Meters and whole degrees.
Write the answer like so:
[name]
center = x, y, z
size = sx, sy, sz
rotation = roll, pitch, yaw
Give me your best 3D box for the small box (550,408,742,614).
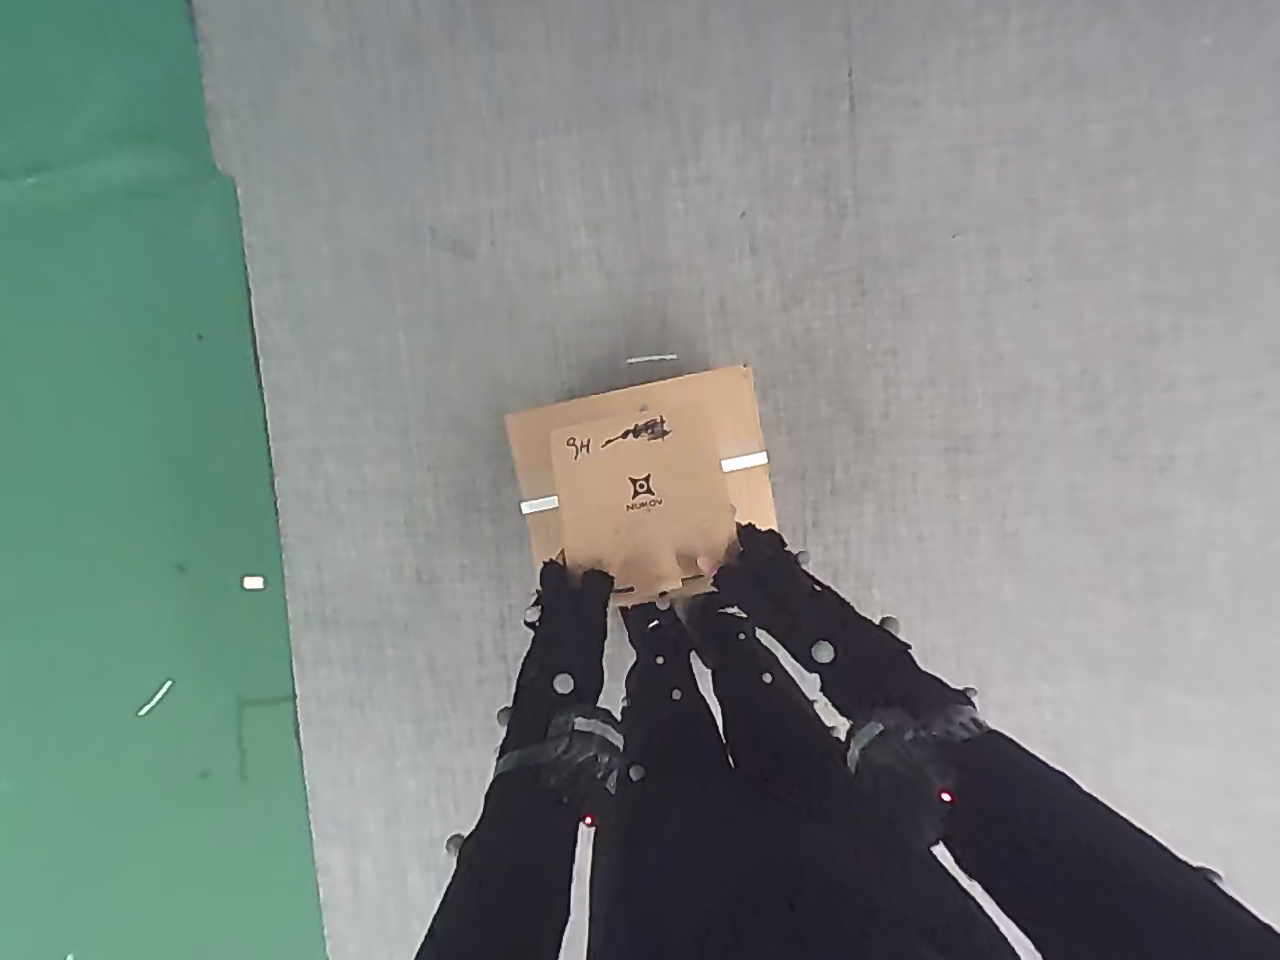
[small box]
center = 0.010, 0.046, 0.590
size = 0.168, 0.176, 0.179
rotation = -11, 71, 2
